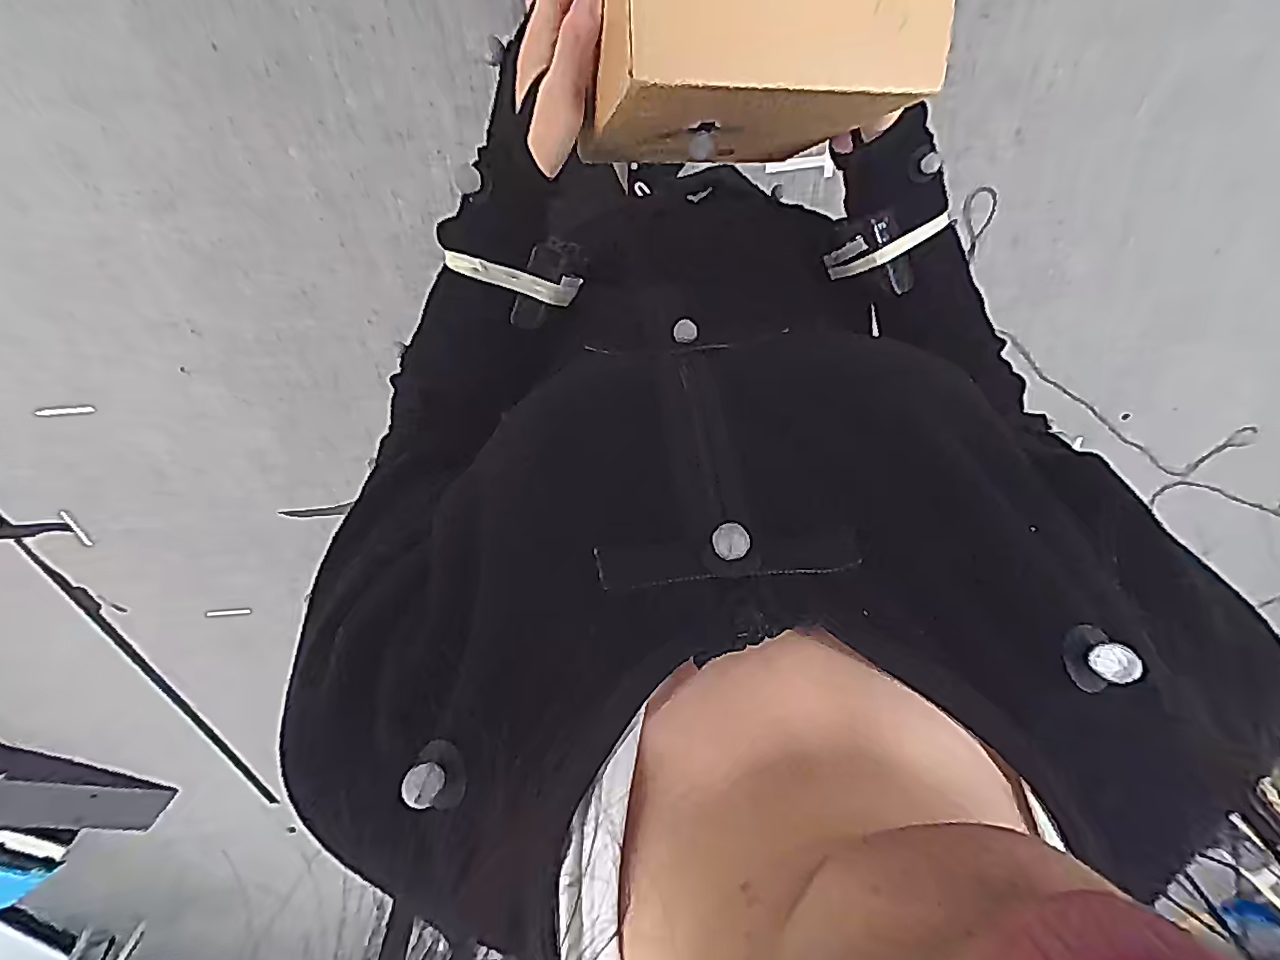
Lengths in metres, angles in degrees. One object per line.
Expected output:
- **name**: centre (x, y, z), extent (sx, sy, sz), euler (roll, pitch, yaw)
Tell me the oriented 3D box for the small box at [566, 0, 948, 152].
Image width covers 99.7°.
- **small box**: centre (0.050, -0.299, 0.304), extent (0.168, 0.176, 0.179), euler (-8, 110, -12)
